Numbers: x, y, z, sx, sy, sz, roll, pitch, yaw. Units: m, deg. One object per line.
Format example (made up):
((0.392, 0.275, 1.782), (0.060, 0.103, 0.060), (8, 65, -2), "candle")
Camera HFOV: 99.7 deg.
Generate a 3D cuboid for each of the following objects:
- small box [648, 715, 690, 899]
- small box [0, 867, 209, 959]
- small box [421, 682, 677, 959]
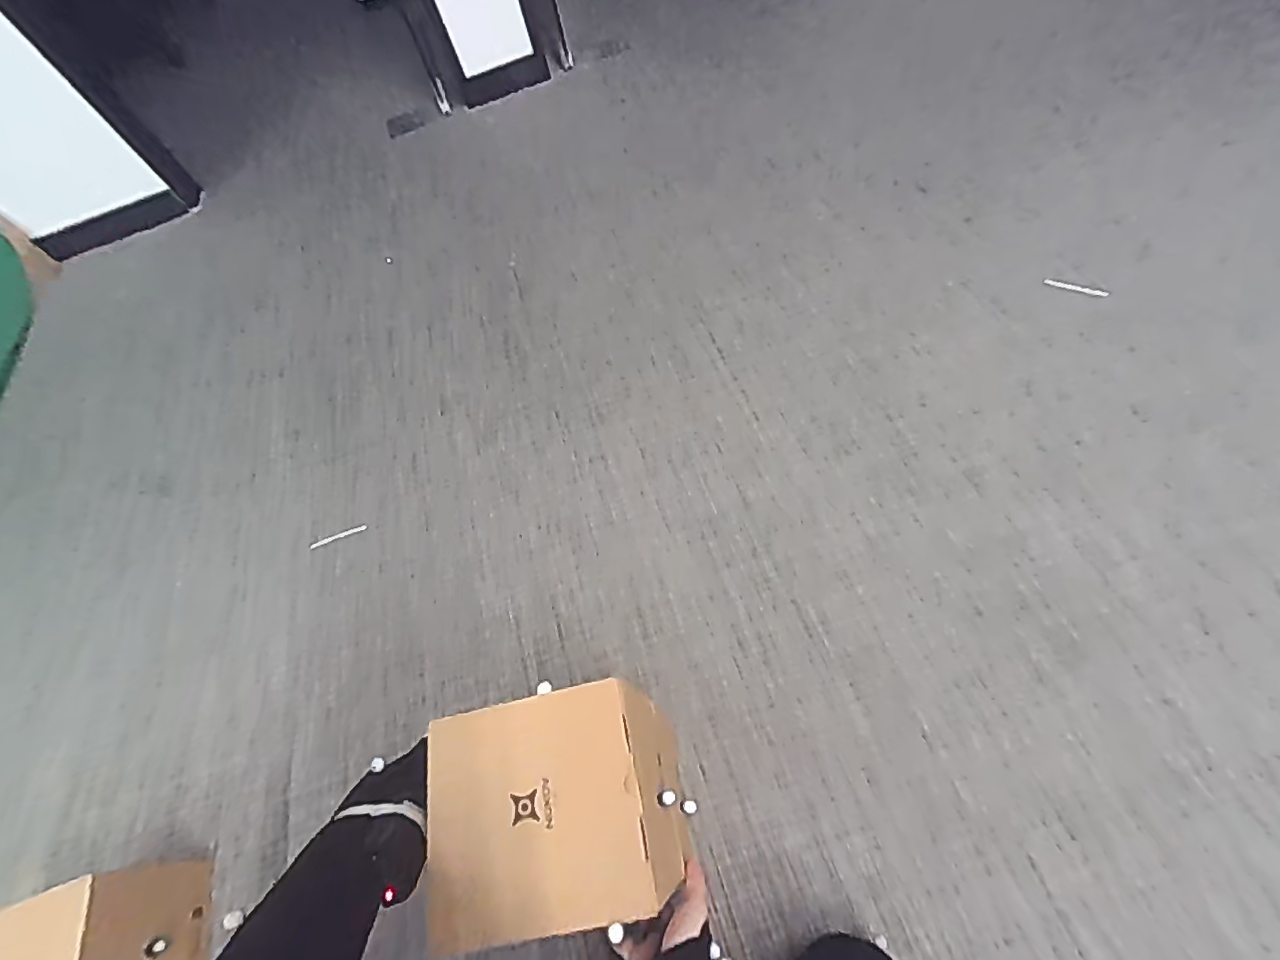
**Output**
((-0.047, 0.385, 0.633), (0.179, 0.176, 0.168), (-11, 59, 5), "small box")
((-0.662, 0.587, 0.641), (0.179, 0.176, 0.168), (-22, 57, -2), "small box")
((-0.075, 0.302, 0.496), (0.179, 0.176, 0.168), (-15, 59, 3), "small box")
